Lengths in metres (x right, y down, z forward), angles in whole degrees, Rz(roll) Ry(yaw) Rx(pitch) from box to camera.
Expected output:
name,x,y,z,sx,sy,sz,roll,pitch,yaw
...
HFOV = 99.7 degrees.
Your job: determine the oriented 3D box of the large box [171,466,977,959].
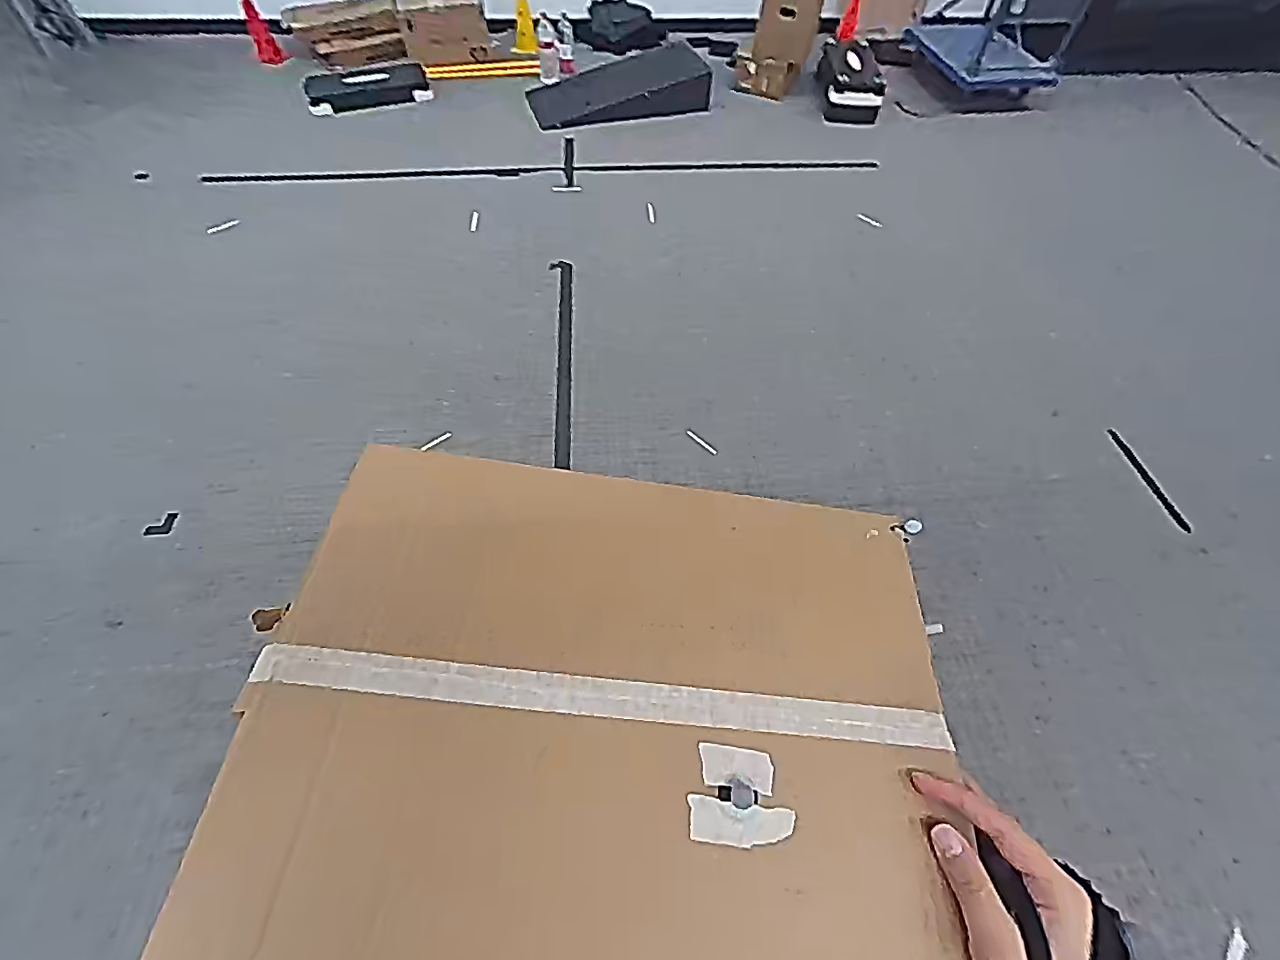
name,x,y,z,sx,sy,sz,roll,pitch,yaw
large box,-0.034,0.220,0.453,0.408,0.320,0.320,8,57,-5
